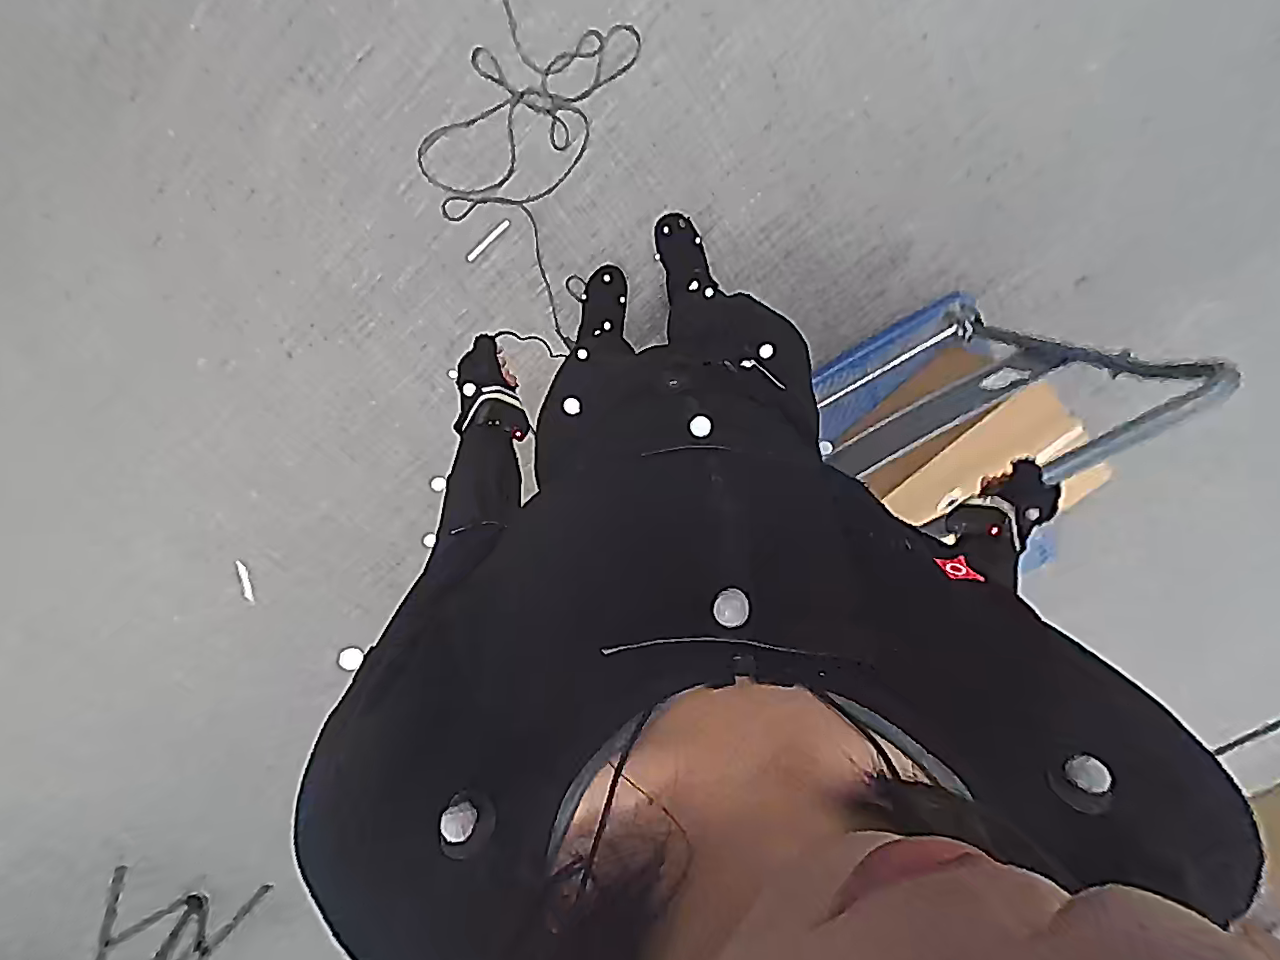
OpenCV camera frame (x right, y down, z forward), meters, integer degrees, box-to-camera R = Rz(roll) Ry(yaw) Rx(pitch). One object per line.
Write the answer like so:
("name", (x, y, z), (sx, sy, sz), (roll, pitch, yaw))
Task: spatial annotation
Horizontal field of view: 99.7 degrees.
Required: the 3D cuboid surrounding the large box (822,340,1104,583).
("large box", (0.714, -0.052, 1.259), (0.320, 0.320, 0.408), (40, 109, -18))
